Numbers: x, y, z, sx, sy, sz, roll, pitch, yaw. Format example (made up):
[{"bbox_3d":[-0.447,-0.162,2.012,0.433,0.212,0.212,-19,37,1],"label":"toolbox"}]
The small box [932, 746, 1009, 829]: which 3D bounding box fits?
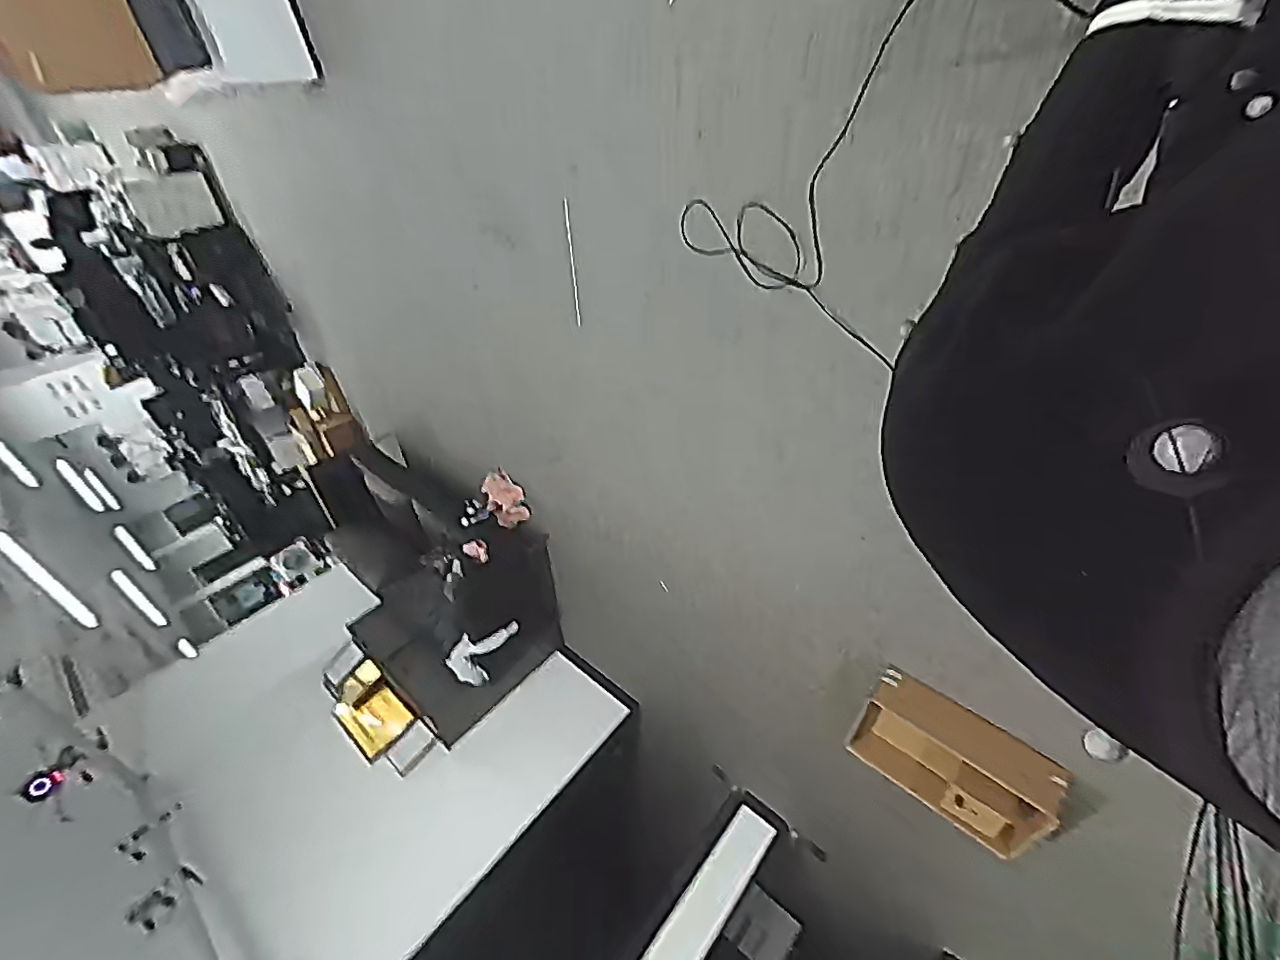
[{"bbox_3d":[1.178,1.083,1.925,0.179,0.176,0.168,23,135,31],"label":"small box"}]
